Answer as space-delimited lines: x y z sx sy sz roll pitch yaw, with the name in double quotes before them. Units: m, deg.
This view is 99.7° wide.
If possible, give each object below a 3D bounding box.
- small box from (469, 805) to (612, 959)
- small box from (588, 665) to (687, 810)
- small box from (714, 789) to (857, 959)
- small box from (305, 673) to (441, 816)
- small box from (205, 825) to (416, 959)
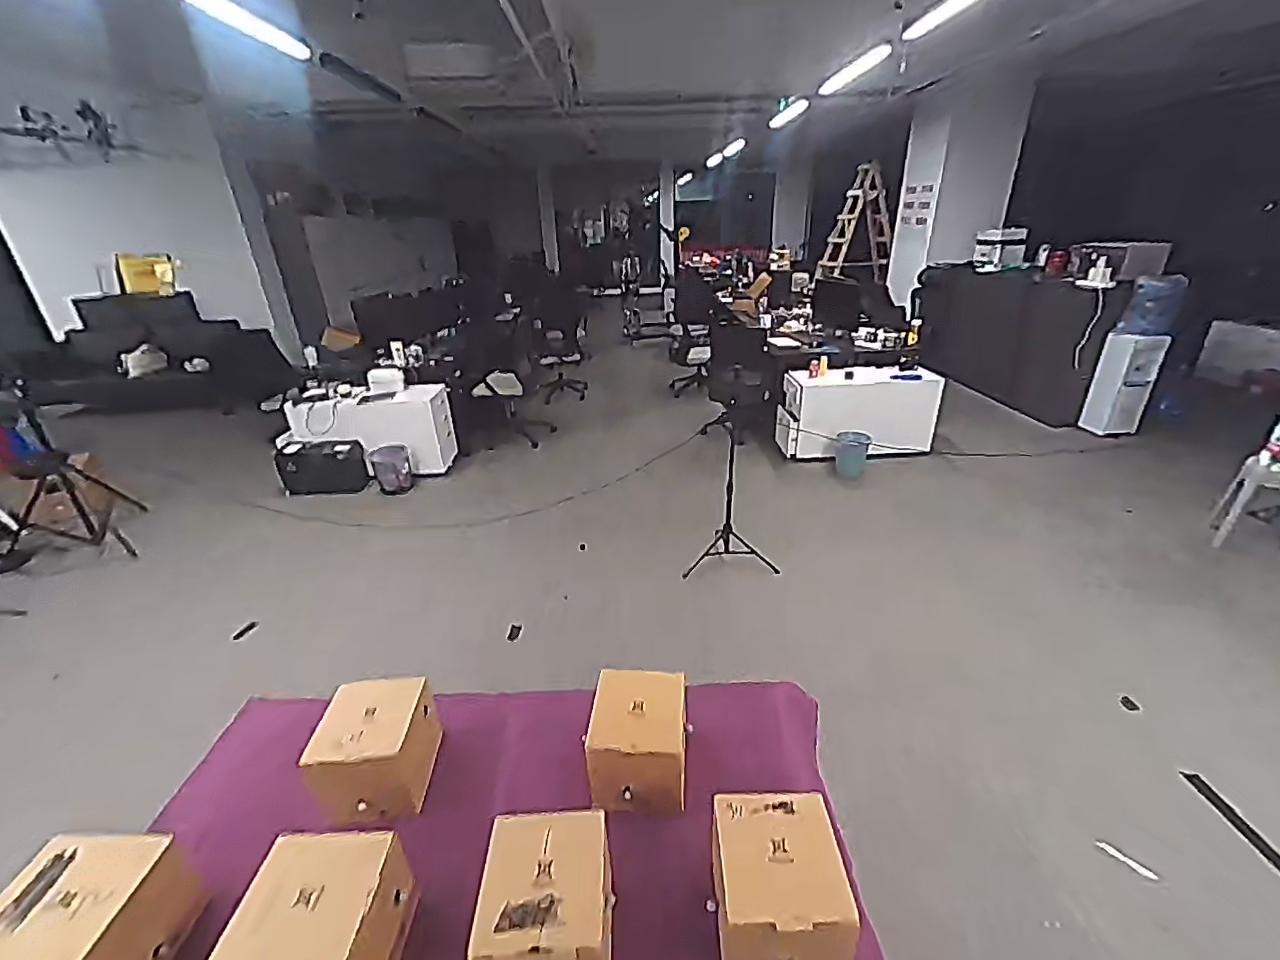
"small box" -0.126 0.599 0.763 0.168 0.176 0.179 -2 25 -1
"small box" 0.002 0.477 1.015 0.168 0.176 0.179 0 27 6
"small box" 0.195 0.580 0.776 0.168 0.176 0.179 -1 24 3
"small box" -0.486 0.492 1.016 0.168 0.176 0.179 -3 26 -3
"small box" -0.435 0.615 0.753 0.179 0.176 0.168 -1 25 0
